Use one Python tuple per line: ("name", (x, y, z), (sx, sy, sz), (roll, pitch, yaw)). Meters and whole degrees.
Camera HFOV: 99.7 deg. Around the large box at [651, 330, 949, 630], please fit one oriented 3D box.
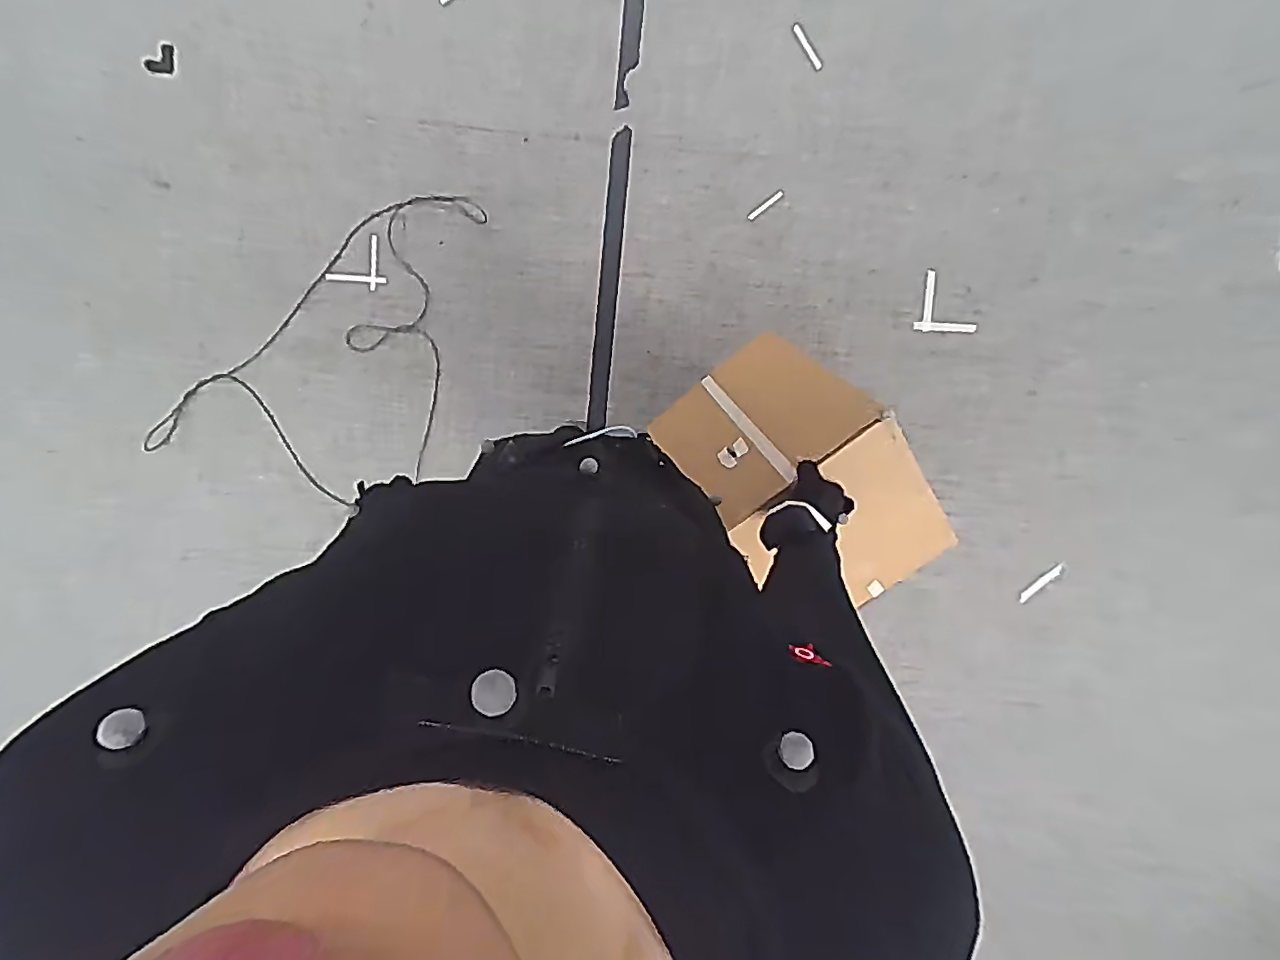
("large box", (0.270, -0.014, 1.003), (0.320, 0.408, 0.320), (-39, 123, 11))
